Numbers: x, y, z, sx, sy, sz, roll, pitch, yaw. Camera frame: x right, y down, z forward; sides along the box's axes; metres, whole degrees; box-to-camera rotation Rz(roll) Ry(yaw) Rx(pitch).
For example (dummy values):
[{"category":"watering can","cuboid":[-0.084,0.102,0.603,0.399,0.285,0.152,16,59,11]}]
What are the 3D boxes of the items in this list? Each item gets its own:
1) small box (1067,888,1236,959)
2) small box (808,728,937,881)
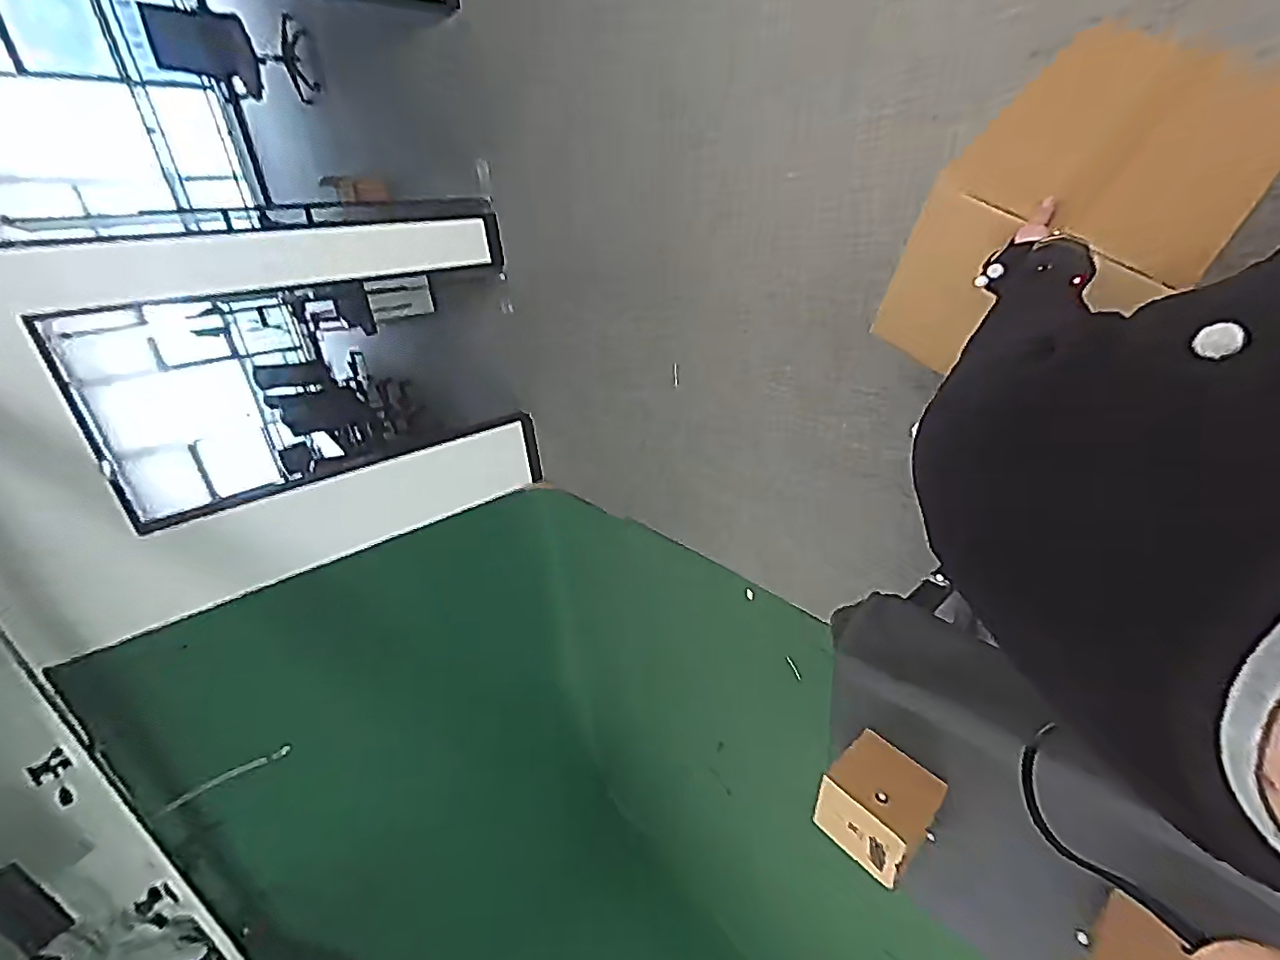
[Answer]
[{"category":"small box","cuboid":[0.757,0.761,0.803,0.179,0.176,0.168,26,129,45]},{"category":"small box","cuboid":[0.479,0.659,1.118,0.179,0.176,0.168,30,132,42]}]
